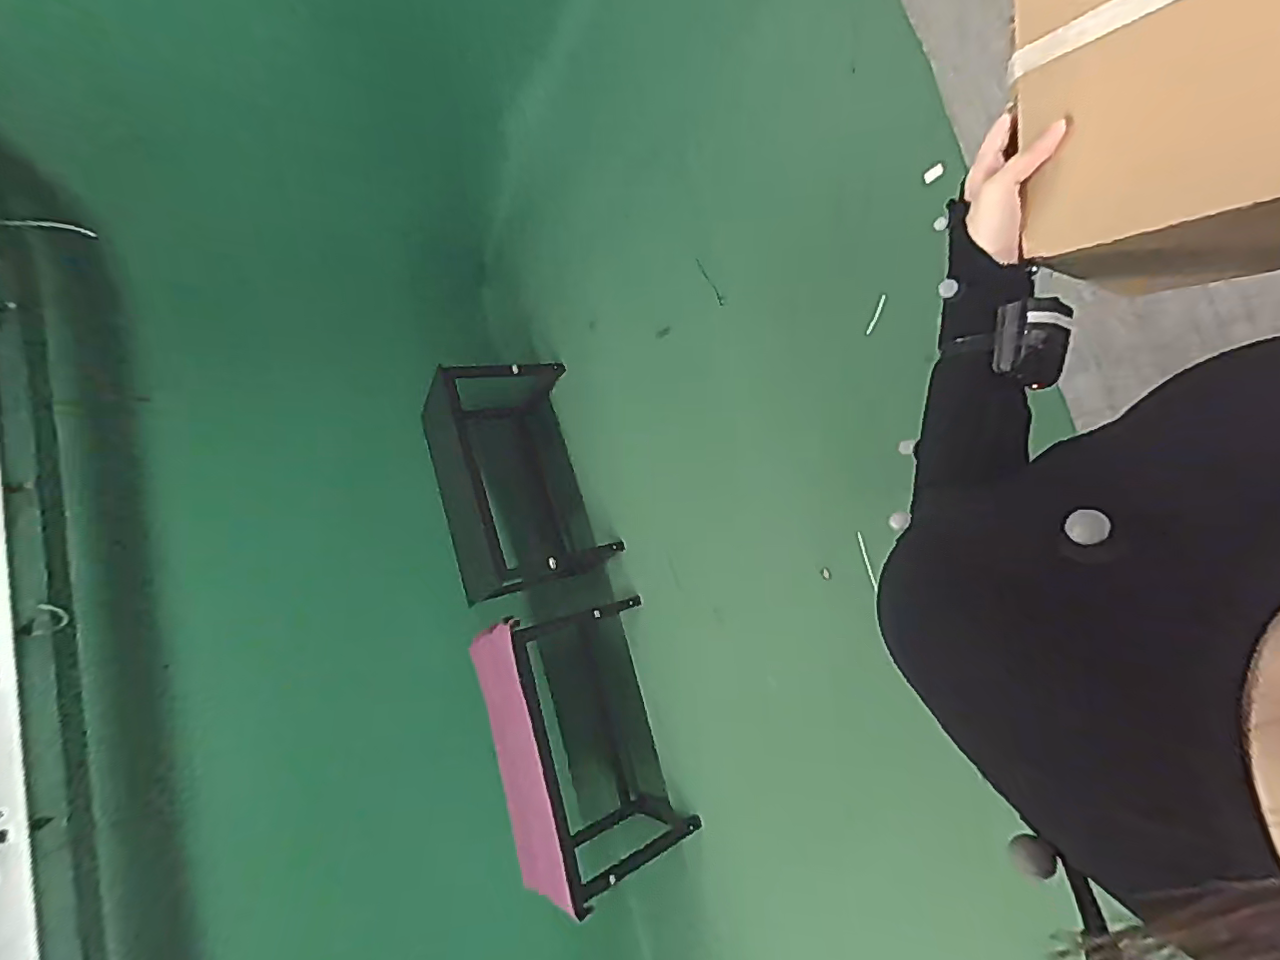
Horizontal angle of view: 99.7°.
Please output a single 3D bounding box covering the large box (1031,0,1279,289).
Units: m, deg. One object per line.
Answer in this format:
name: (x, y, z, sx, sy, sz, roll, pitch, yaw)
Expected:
large box: (0.551, -0.355, 0.368, 0.408, 0.320, 0.320, 1, 97, 51)
